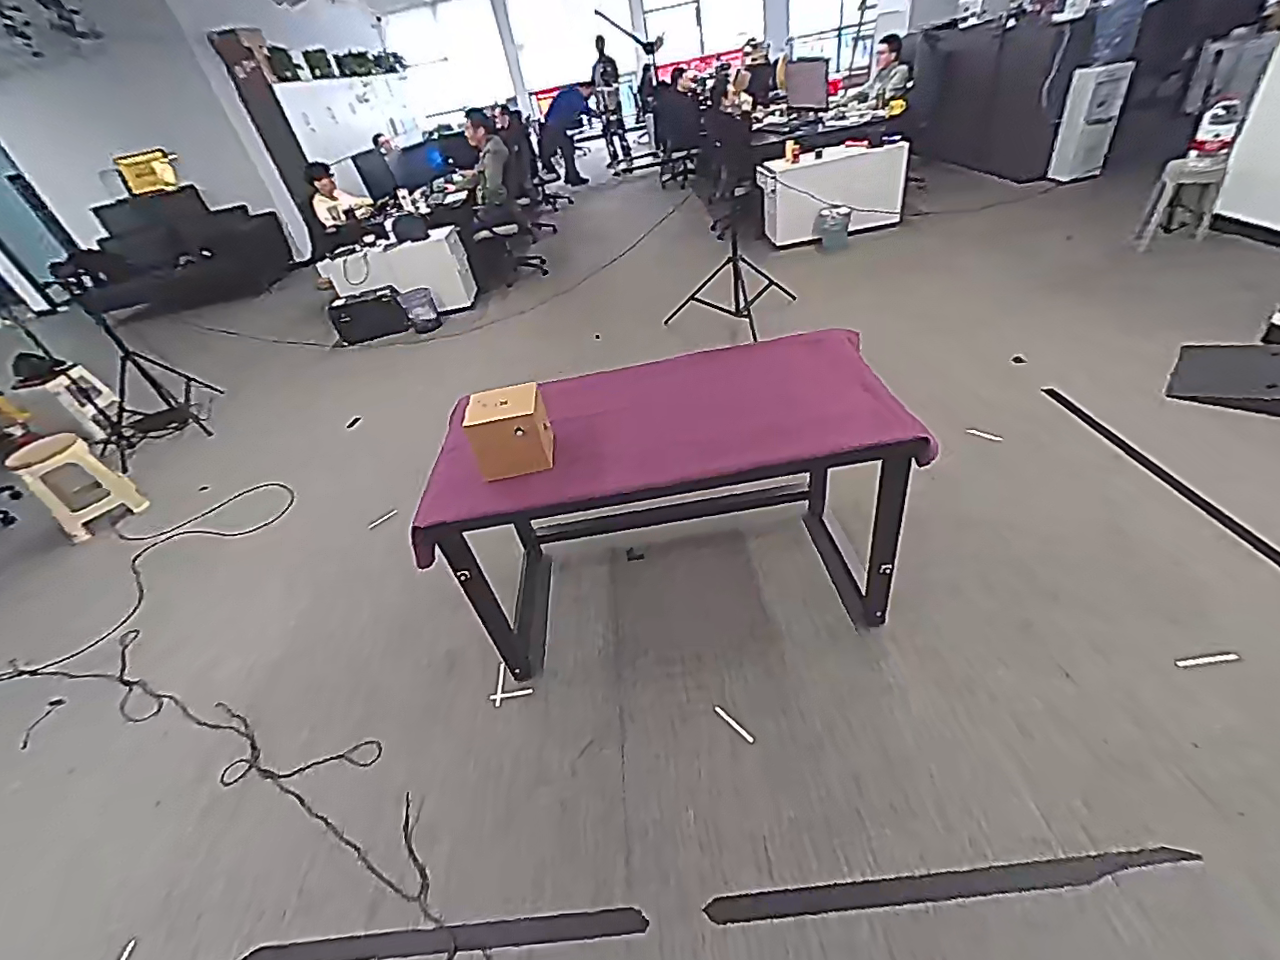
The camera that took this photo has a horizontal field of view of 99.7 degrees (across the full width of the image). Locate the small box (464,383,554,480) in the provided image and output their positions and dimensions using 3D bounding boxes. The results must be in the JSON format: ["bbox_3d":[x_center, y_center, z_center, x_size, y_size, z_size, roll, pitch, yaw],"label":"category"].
[{"bbox_3d":[-0.323,-0.122,1.376,0.179,0.176,0.168,-11,36,1],"label":"small box"}]
